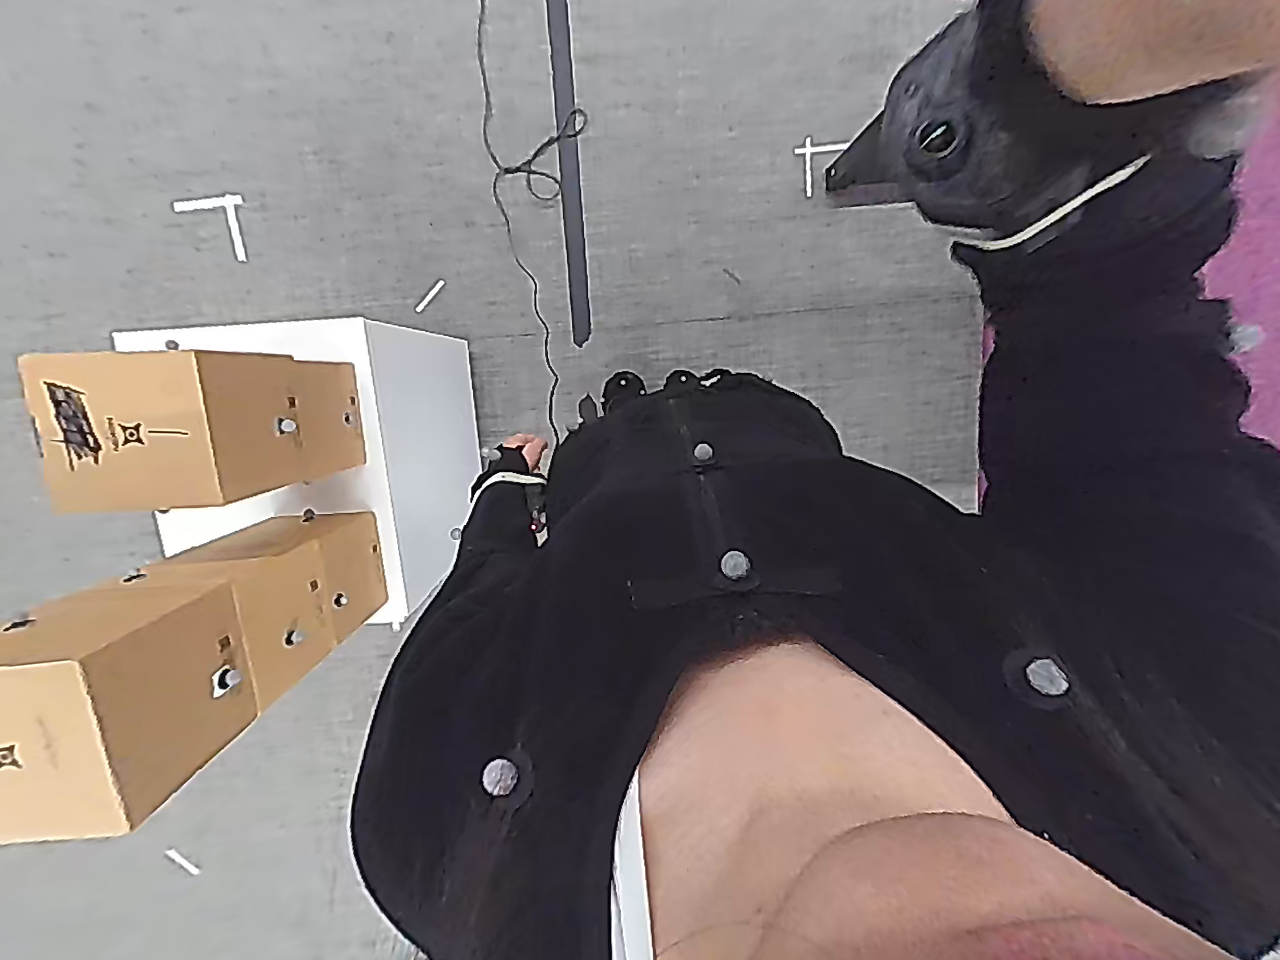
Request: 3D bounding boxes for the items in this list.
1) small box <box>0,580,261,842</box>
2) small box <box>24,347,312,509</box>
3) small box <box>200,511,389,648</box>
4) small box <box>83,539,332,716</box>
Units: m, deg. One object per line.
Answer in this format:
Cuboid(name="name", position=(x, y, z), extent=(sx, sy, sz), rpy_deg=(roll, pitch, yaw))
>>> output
Cuboid(name="small box", position=(-0.518, 0.207, 0.520), extent=(0.179, 0.176, 0.168), rpy_deg=(-5, 102, 0))
Cuboid(name="small box", position=(-0.525, -0.065, 0.631), extent=(0.179, 0.176, 0.168), rpy_deg=(-2, 102, -1))
Cuboid(name="small box", position=(-0.521, 0.148, 0.840), extent=(0.179, 0.176, 0.168), rpy_deg=(-3, 100, 1))
Cuboid(name="small box", position=(-0.518, 0.178, 0.680), extent=(0.179, 0.176, 0.168), rpy_deg=(-5, 101, 1))
